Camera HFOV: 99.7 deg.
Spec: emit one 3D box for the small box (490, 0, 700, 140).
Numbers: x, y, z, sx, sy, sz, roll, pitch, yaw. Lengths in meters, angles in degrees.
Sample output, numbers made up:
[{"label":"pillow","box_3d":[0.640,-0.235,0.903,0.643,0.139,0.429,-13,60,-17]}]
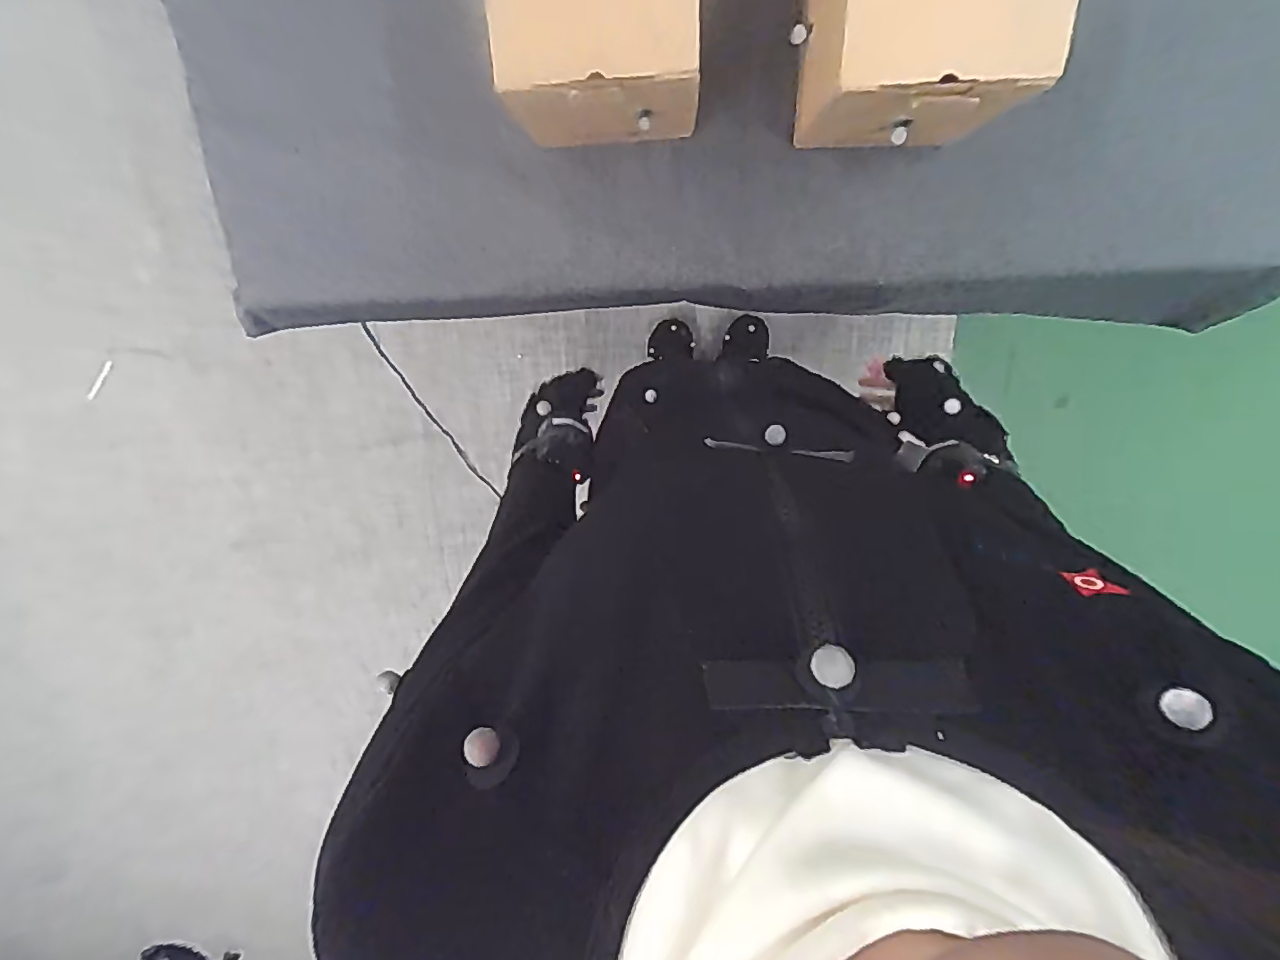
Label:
[{"label":"small box","box_3d":[-0.033,-0.424,0.483,0.168,0.176,0.179,-3,106,3]}]
